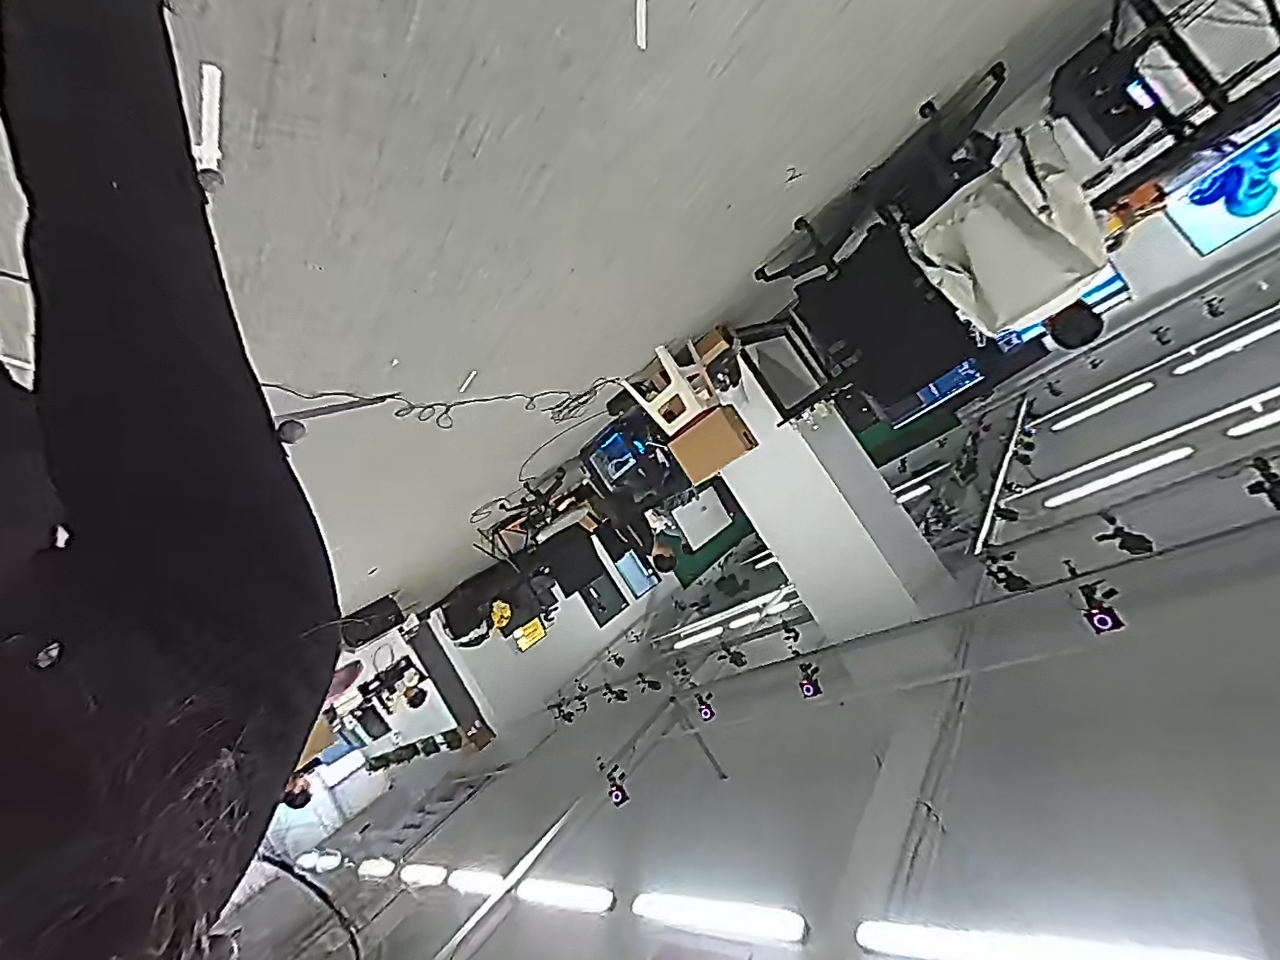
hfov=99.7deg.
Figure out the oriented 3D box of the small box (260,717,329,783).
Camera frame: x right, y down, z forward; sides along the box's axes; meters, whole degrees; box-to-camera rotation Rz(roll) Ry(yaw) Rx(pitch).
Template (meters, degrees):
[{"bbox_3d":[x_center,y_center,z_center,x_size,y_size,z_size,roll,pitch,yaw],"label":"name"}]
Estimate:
[{"bbox_3d":[-1.411,1.097,2.200,0.179,0.176,0.168,-38,174,39],"label":"small box"}]
